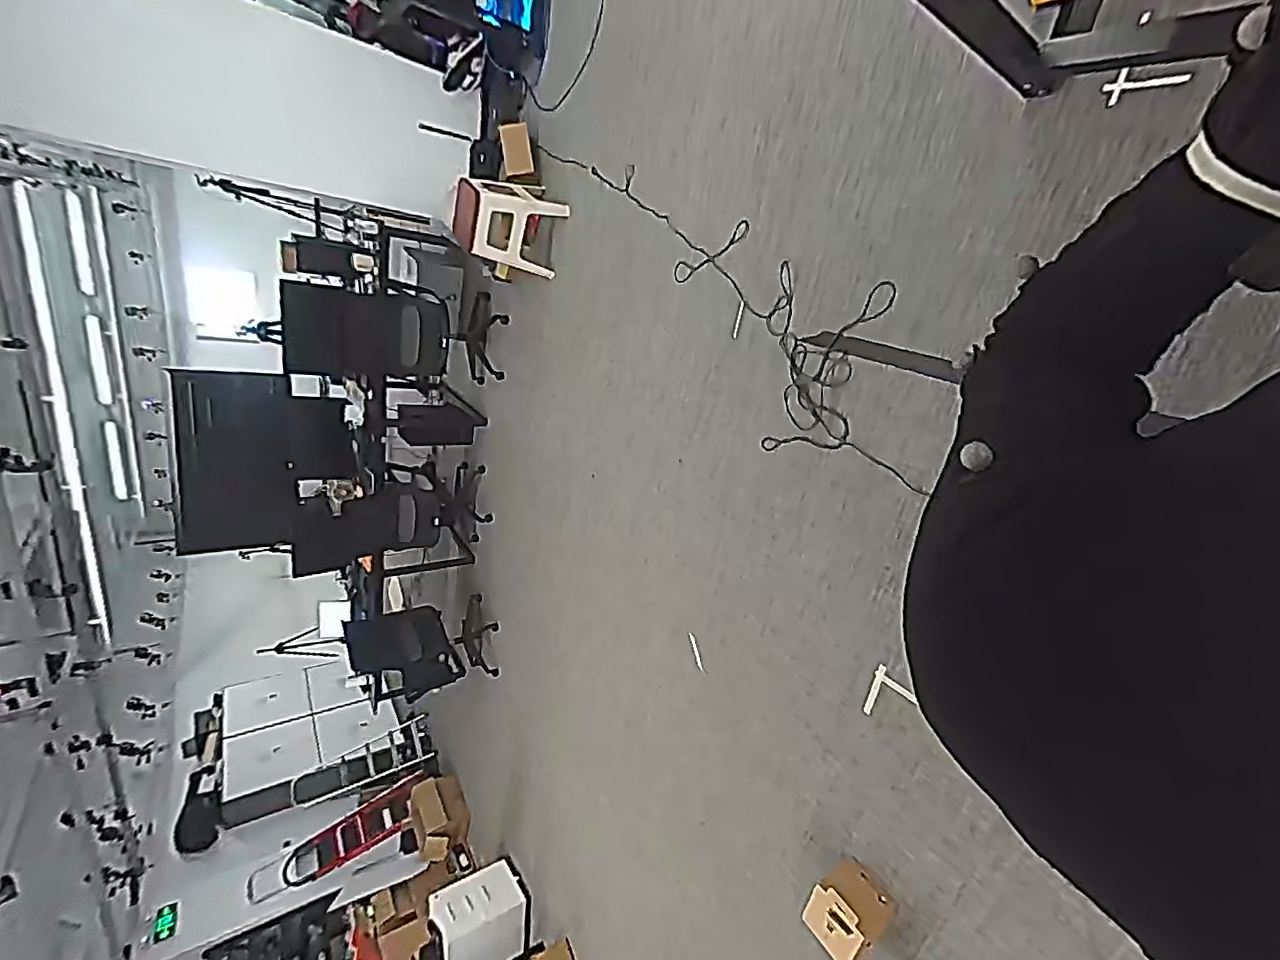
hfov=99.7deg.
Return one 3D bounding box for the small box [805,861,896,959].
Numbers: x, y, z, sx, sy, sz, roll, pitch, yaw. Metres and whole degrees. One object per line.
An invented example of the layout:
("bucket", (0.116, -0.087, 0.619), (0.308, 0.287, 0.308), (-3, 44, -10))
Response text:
("small box", (0.630, 1.294, 1.610), (0.168, 0.176, 0.179), (36, 123, 47))
